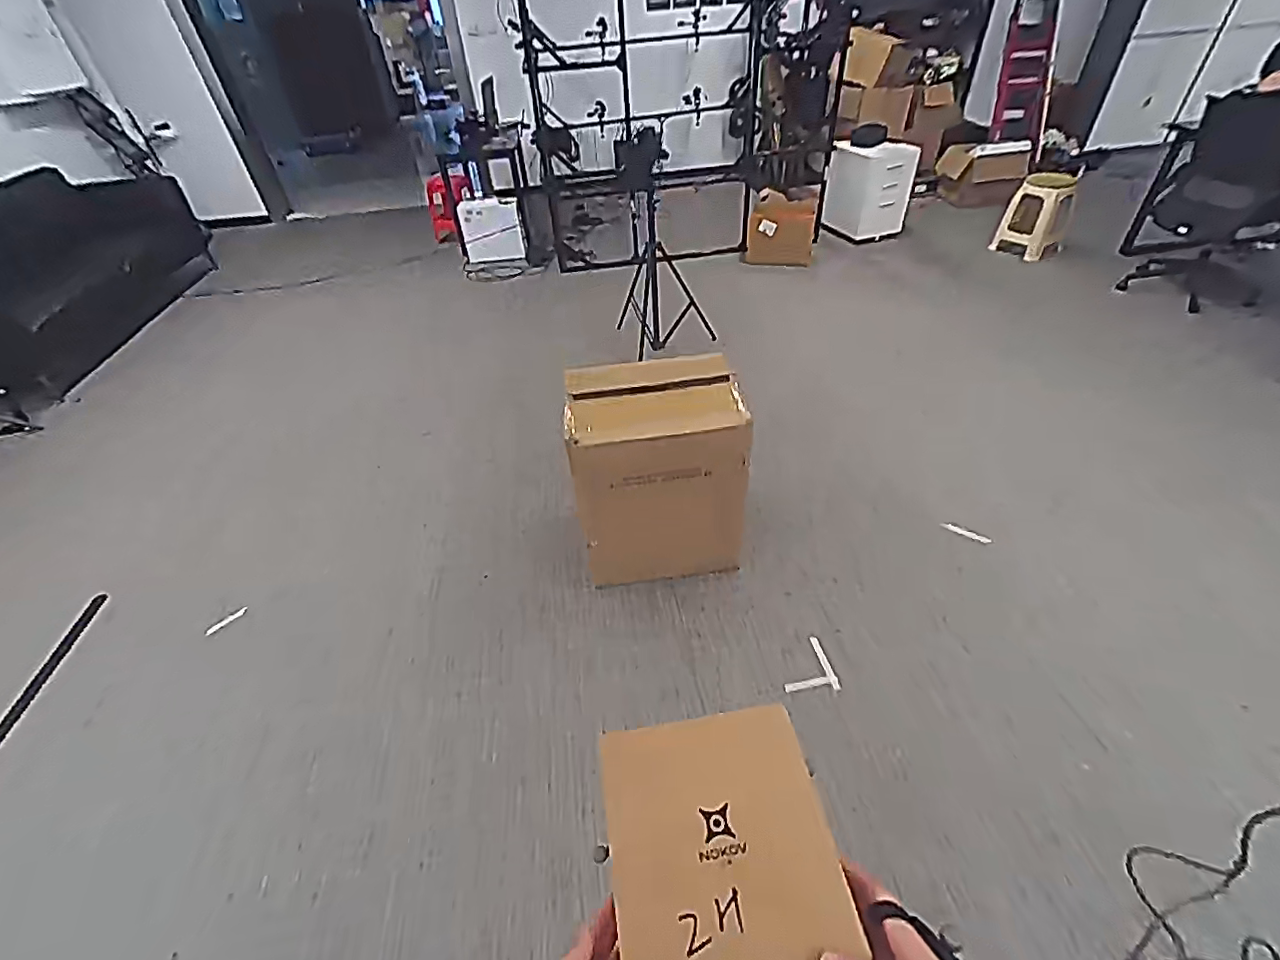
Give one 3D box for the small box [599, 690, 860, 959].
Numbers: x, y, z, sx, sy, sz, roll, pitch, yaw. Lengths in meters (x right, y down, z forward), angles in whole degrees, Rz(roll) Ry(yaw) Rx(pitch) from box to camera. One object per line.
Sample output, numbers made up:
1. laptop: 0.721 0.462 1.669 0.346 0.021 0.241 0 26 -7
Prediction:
1. small box: 0.057 0.312 0.469 0.168 0.176 0.179 -8 46 -5
